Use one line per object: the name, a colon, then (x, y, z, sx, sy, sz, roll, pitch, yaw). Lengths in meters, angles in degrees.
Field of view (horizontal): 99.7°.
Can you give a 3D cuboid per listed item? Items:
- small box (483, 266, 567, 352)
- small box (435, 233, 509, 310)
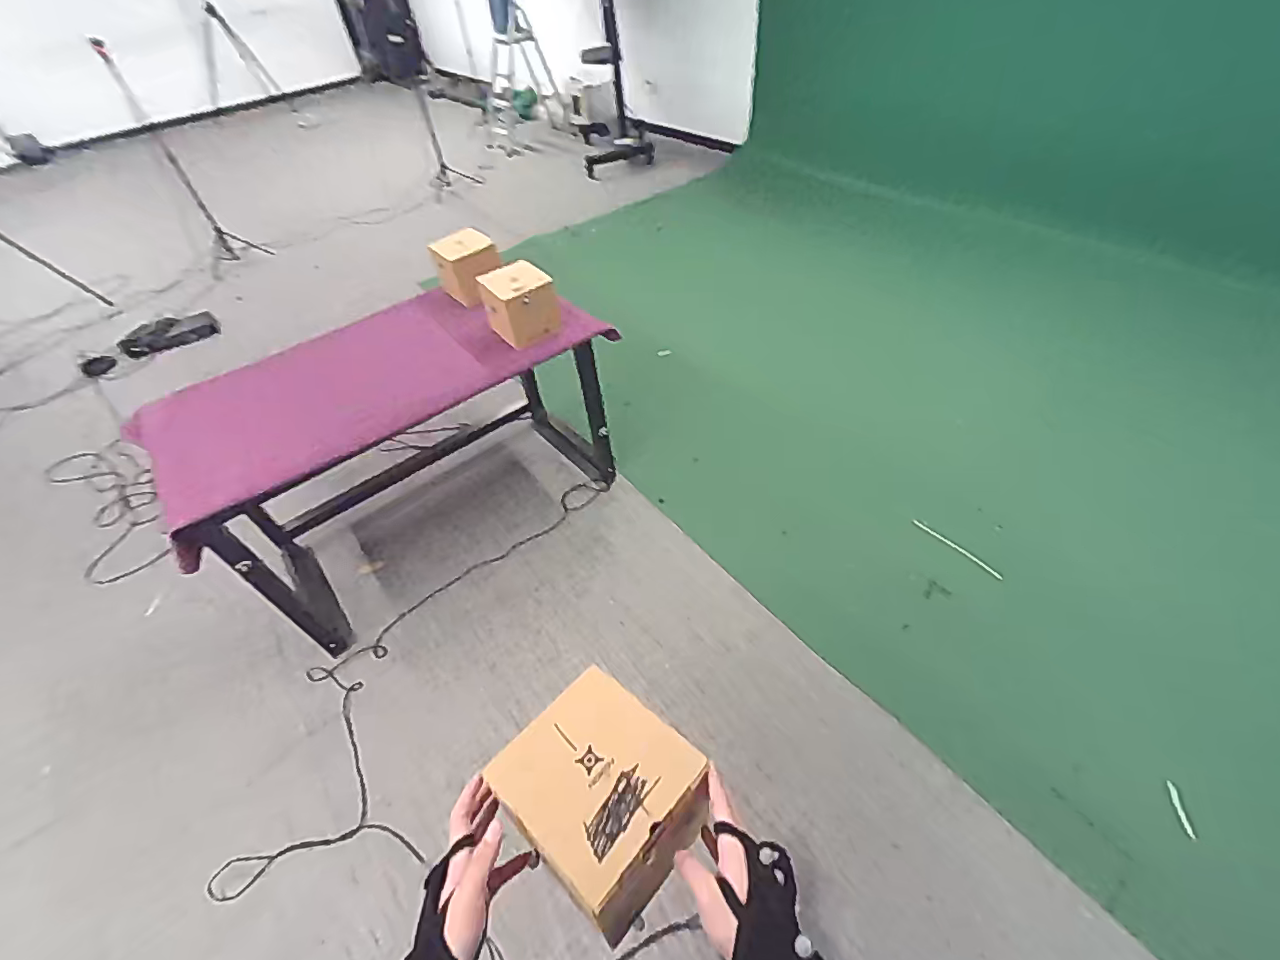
small box: (-0.342, -0.513, 1.630, 0.168, 0.176, 0.179, -33, 52, -19)
small box: (-0.558, -0.705, 1.837, 0.168, 0.176, 0.179, -36, 53, -19)
